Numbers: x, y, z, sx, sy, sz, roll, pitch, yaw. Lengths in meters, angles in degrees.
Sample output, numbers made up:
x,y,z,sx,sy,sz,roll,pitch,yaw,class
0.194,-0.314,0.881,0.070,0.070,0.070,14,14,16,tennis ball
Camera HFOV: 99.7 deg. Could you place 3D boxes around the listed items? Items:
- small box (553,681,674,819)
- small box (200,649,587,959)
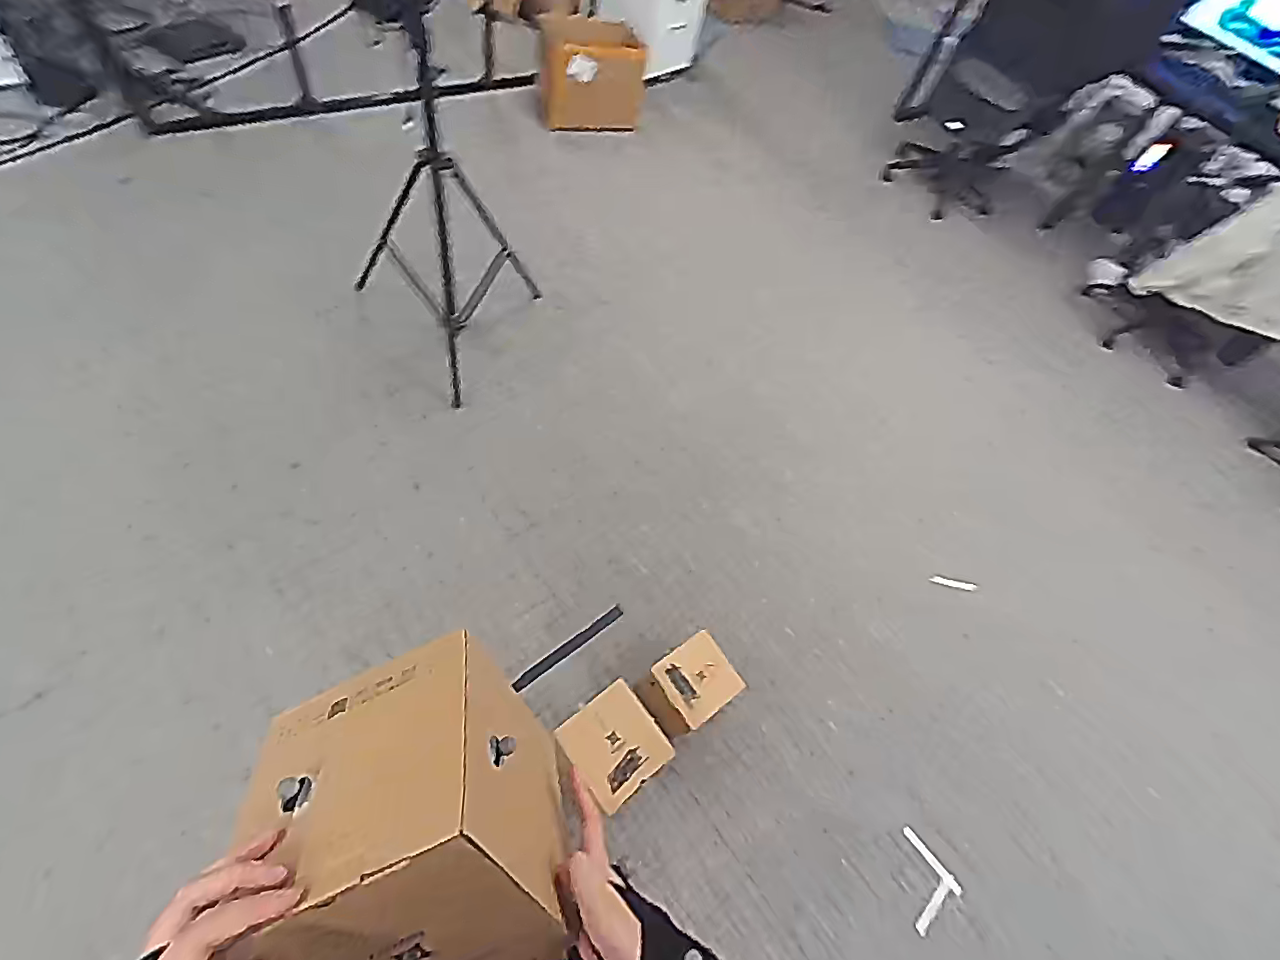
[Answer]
x,y,z,sx,sy,sz,roll,pitch,yaw,class
-0.062,0.533,1.071,0.168,0.176,0.179,-31,70,-28,small box
-0.158,0.254,0.405,0.168,0.179,0.176,-23,32,-3,small box
